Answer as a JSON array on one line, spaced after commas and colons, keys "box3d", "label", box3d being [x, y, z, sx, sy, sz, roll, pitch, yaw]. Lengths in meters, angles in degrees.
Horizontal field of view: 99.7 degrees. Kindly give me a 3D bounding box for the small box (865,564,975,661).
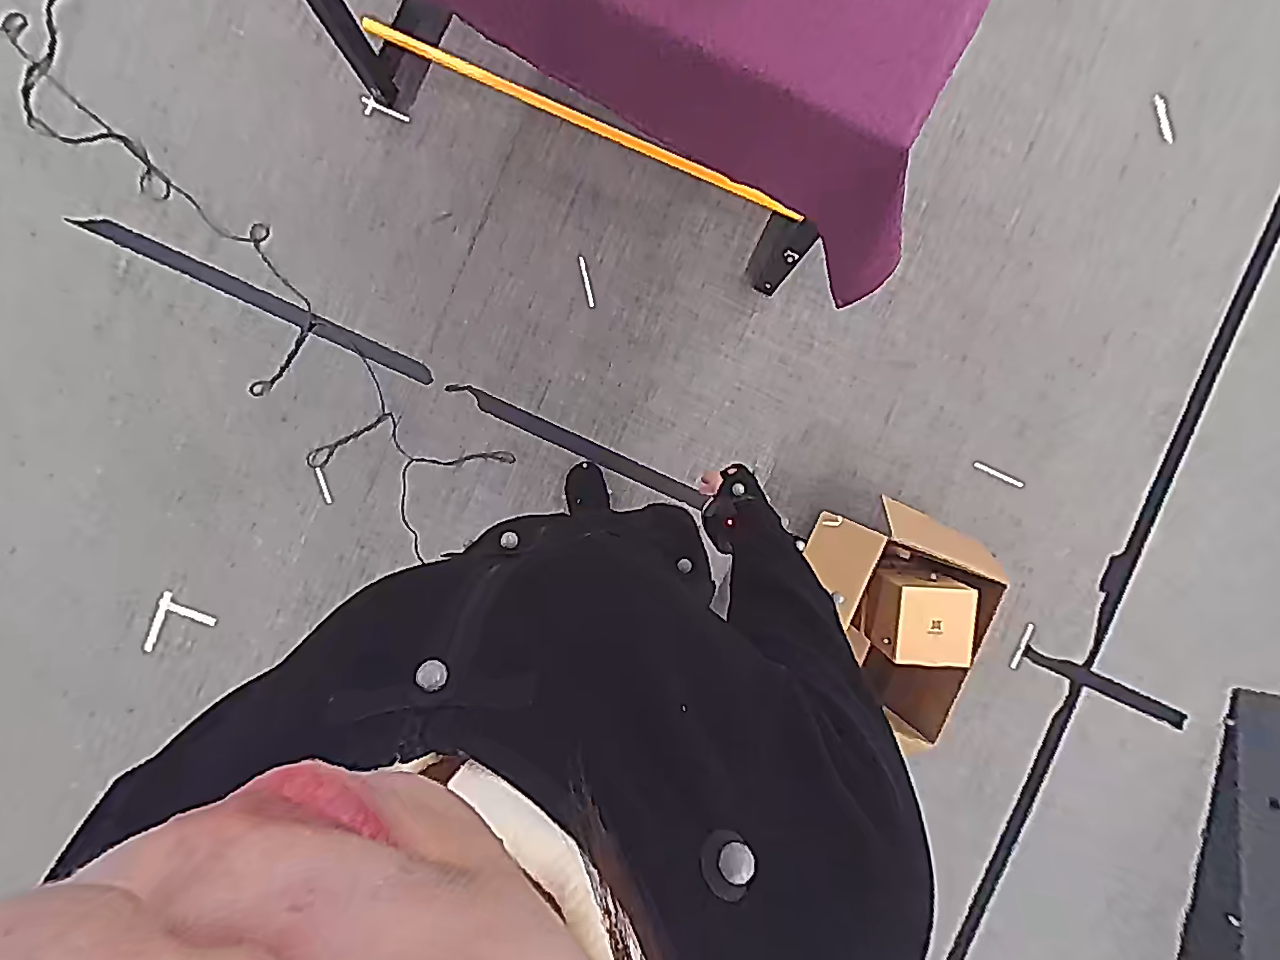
[{"box3d": [0.640, 0.300, 1.255, 0.168, 0.176, 0.179, 3, 96, 0], "label": "small box"}]
